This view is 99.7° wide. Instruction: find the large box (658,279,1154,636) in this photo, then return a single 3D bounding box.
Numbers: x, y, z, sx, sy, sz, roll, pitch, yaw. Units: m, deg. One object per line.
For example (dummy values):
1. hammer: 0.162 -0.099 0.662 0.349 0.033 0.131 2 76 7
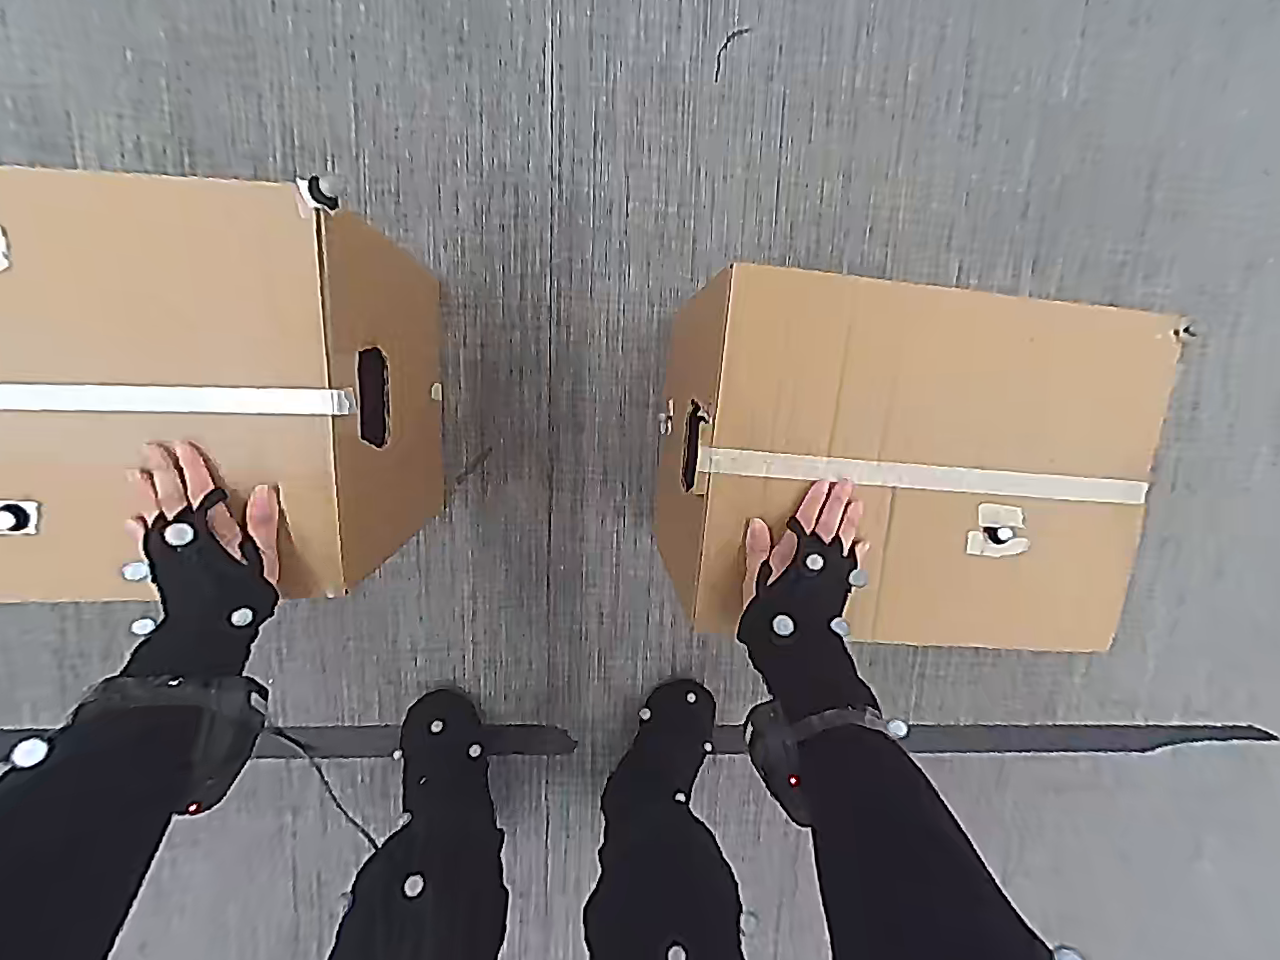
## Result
1. large box: 0.245 -0.029 0.637 0.408 0.320 0.320 4 100 -7
